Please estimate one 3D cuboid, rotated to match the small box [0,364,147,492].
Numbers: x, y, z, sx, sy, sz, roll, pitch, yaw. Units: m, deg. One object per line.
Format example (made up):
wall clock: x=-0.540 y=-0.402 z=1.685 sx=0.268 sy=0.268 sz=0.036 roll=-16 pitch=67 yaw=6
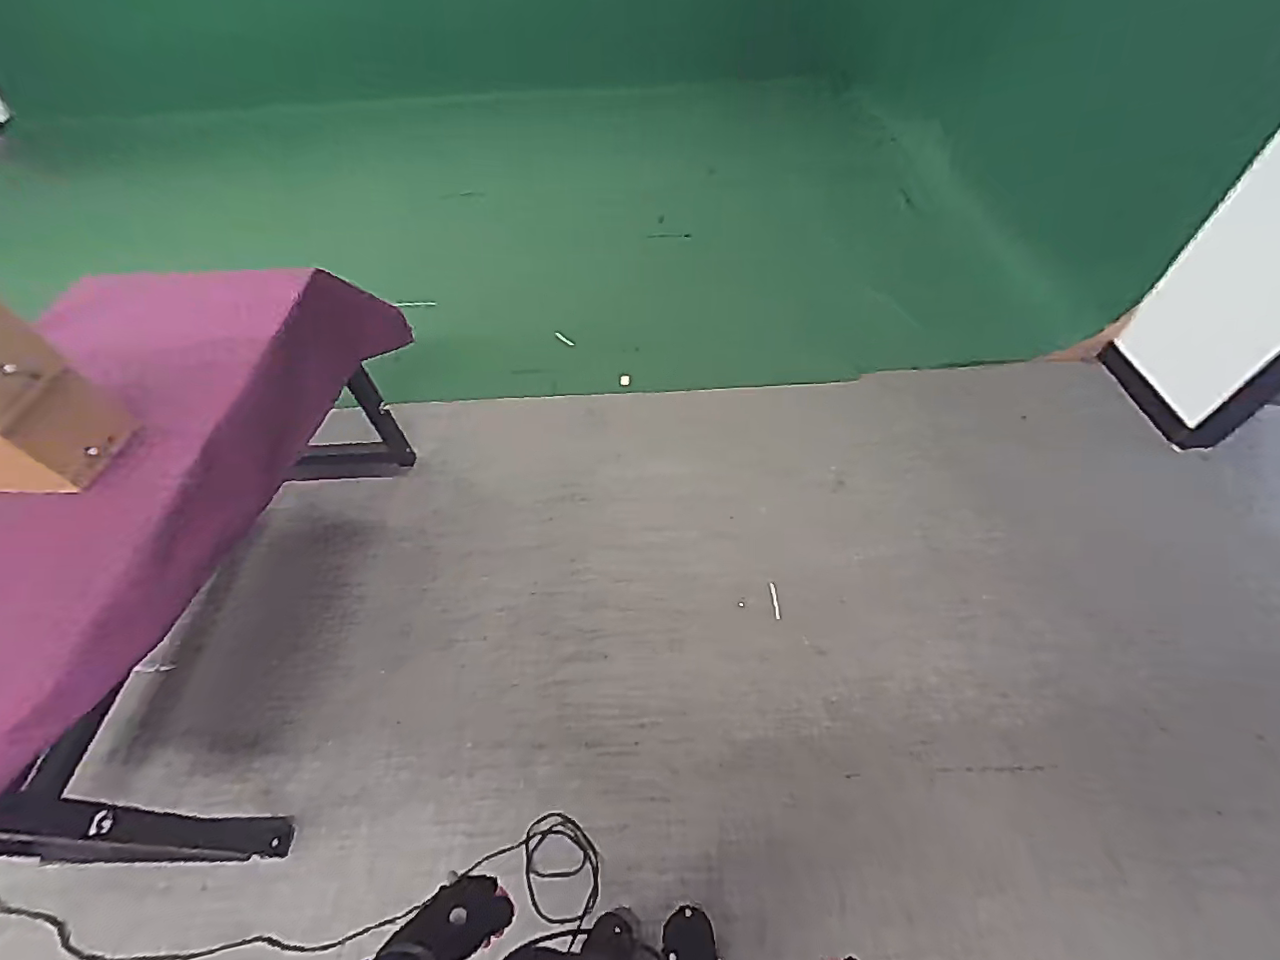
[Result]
small box: x=-1.052 y=-0.092 z=0.953 sx=0.179 sy=0.176 sz=0.168 roll=2 pitch=53 yaw=4
